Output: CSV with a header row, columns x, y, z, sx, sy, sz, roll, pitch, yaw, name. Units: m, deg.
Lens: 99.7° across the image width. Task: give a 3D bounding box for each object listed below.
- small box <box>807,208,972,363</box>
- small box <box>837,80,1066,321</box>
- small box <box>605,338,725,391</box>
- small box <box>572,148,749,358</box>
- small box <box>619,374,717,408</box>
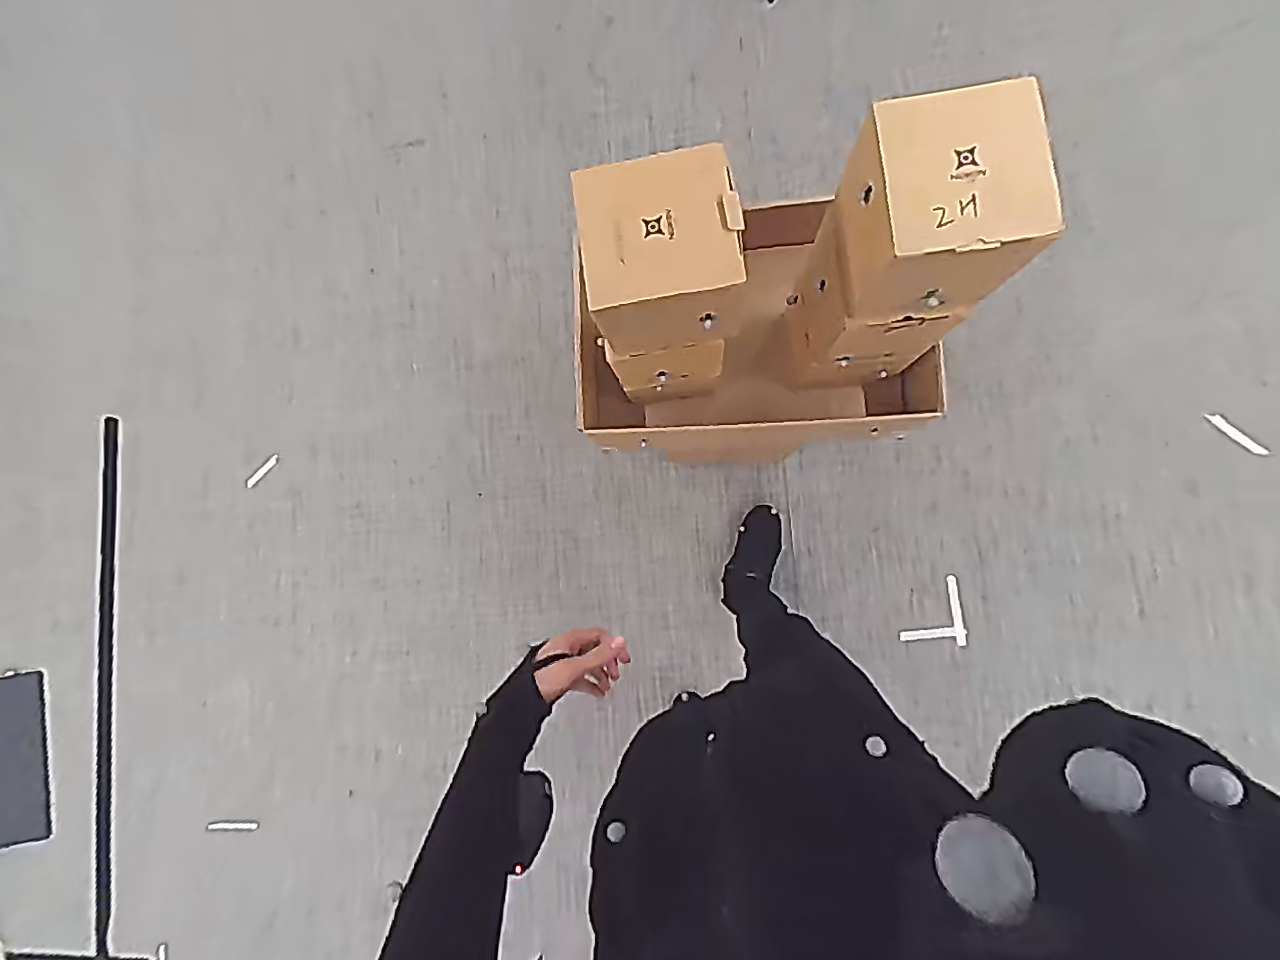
x,y,z,sx,sy,sz,roll,pitch,yaw,name
0.349,-0.279,0.788,0.168,0.176,0.179,-6,84,5,small box
0.338,-0.306,0.625,0.168,0.176,0.179,-6,85,6,small box
0.032,-0.249,0.825,0.168,0.176,0.179,-9,86,6,small box
0.027,-0.261,0.661,0.179,0.176,0.168,-8,85,5,small box
0.048,-0.242,0.987,0.168,0.176,0.179,-6,84,7,small box
